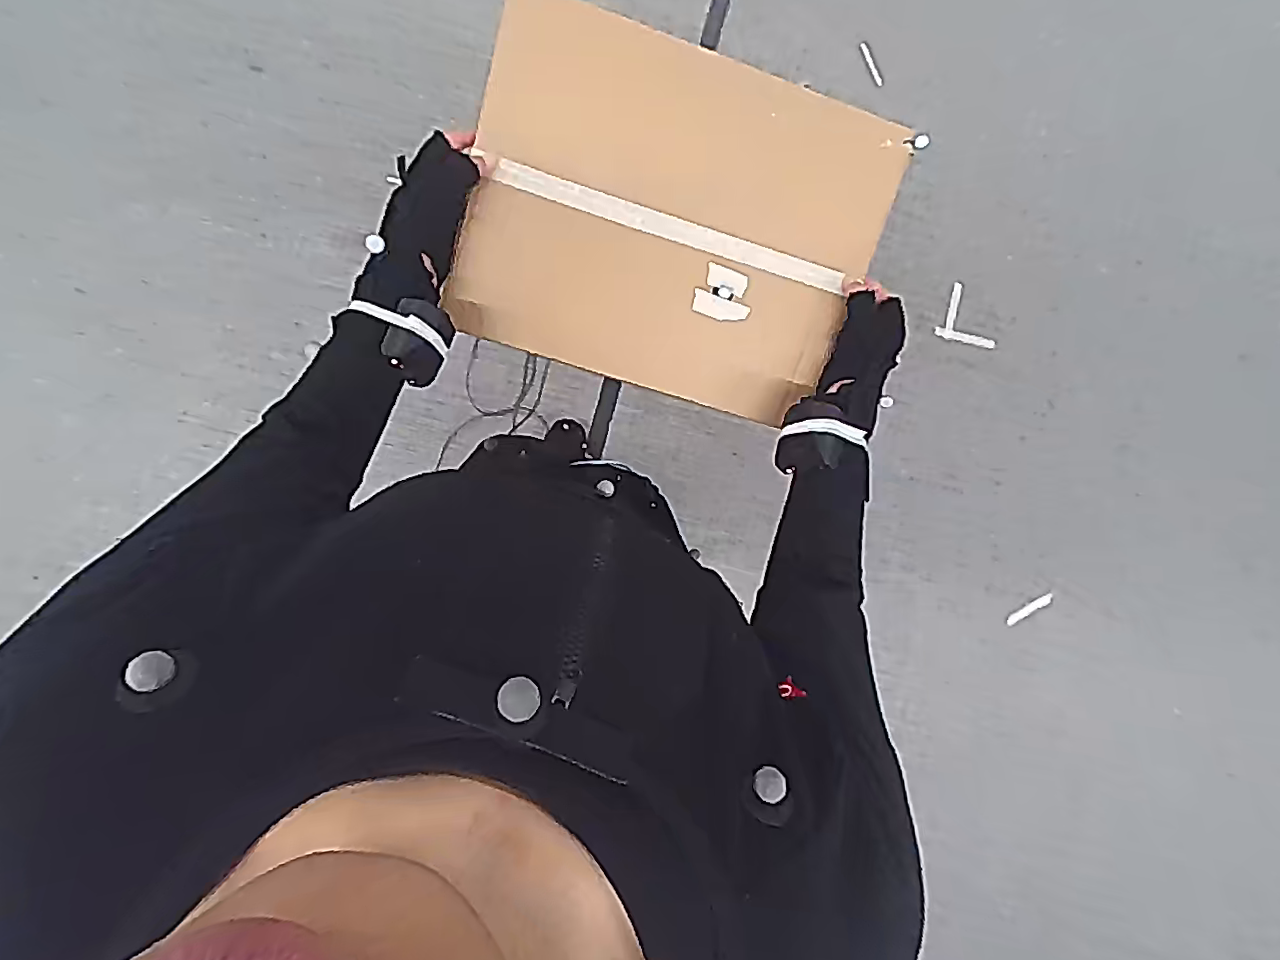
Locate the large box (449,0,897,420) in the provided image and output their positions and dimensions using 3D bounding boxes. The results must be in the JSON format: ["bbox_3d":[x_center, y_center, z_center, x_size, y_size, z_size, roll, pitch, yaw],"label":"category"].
[{"bbox_3d":[0.019,-0.291,0.694,0.408,0.320,0.320,15,103,-8],"label":"large box"}]
